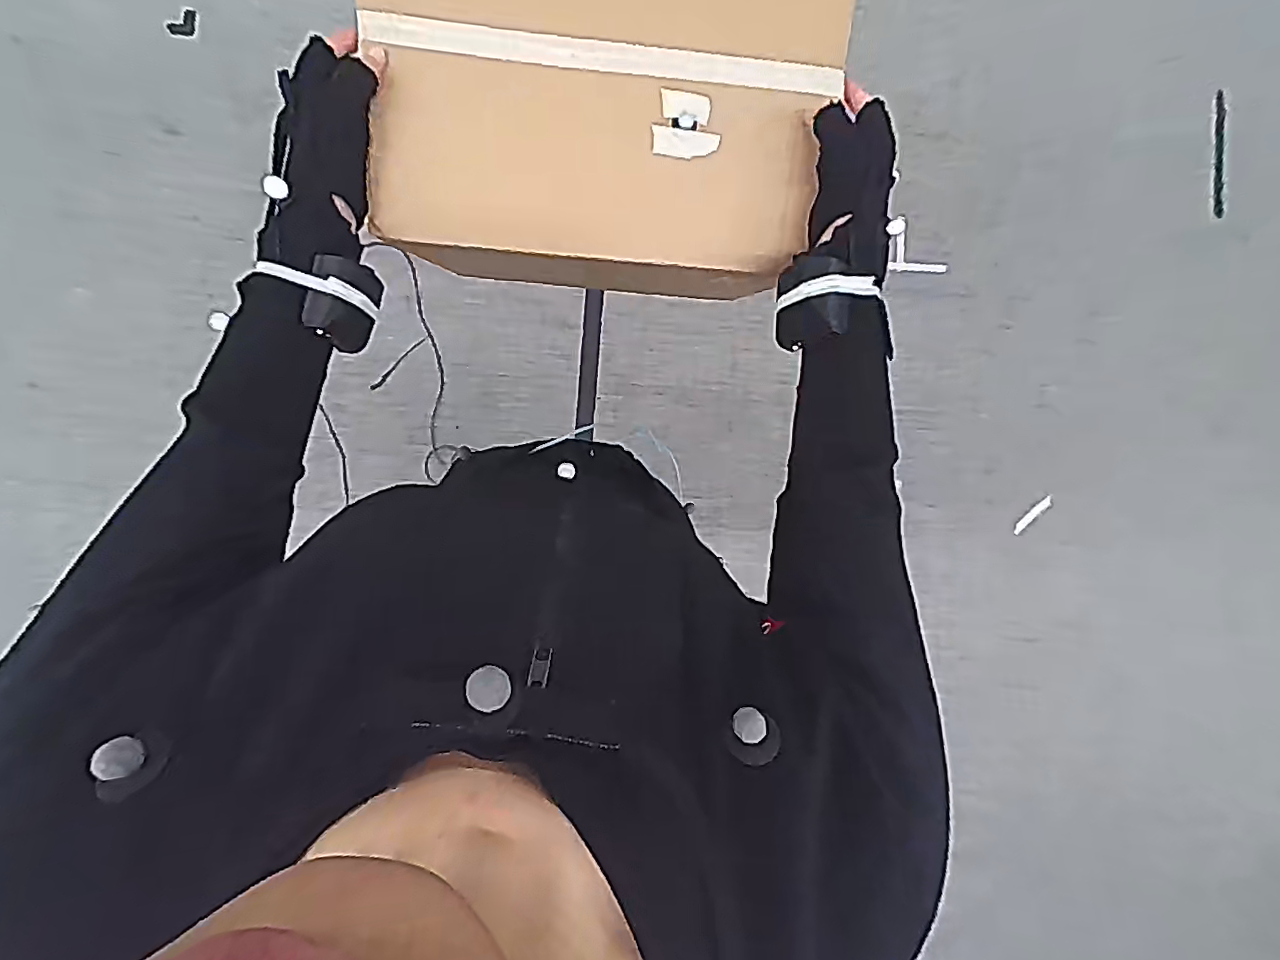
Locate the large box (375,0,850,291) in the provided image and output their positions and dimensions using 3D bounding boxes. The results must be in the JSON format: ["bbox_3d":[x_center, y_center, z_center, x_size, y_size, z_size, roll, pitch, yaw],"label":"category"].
[{"bbox_3d":[-0.035,-0.398,0.605,0.408,0.320,0.320,3,105,-6],"label":"large box"}]
